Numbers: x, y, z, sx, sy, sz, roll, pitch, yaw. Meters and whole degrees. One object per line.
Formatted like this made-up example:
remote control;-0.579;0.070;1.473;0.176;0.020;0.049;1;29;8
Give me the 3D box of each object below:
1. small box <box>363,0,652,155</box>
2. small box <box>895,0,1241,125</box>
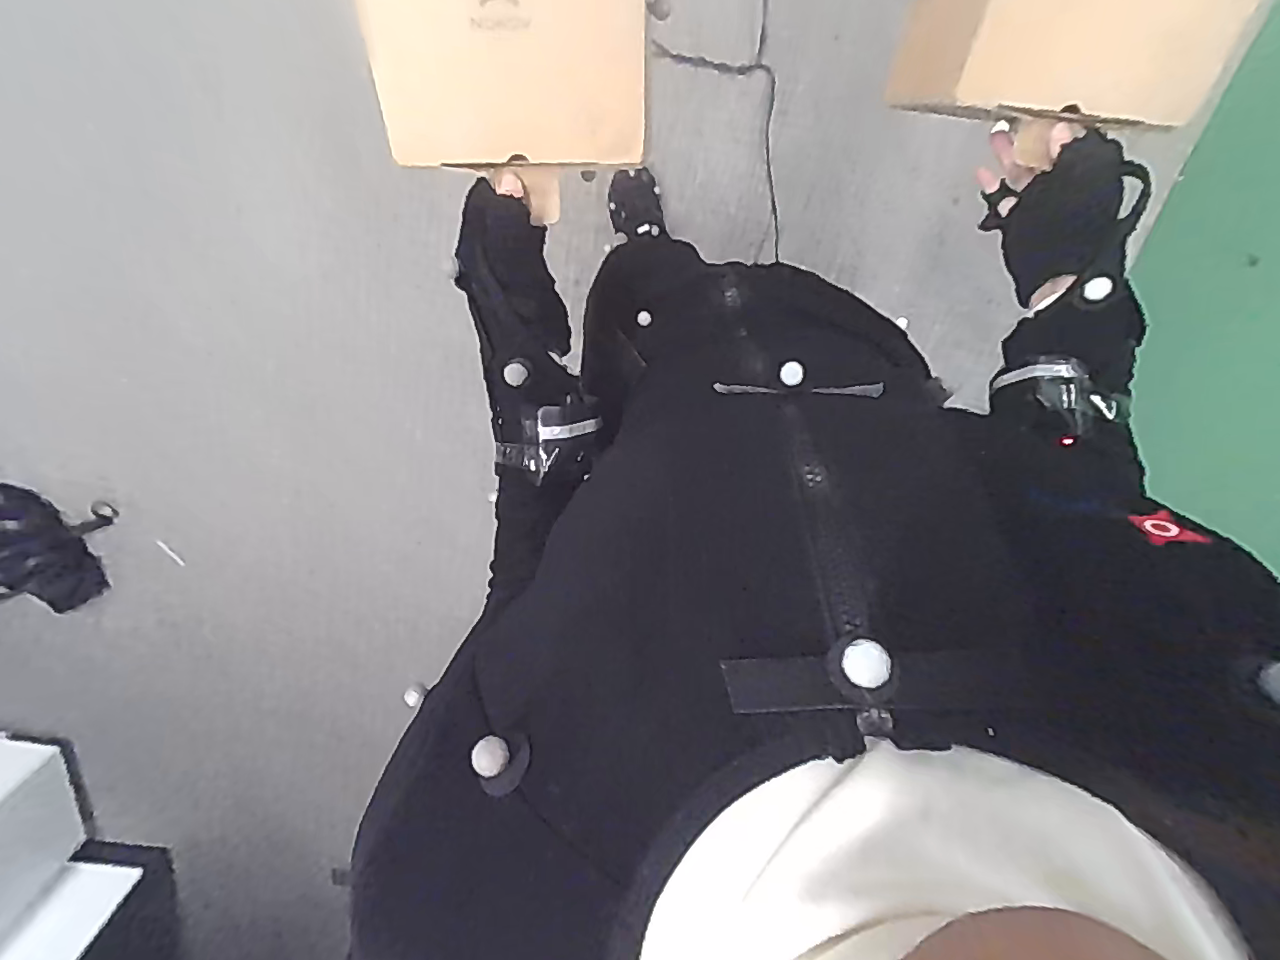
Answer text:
small box;-0.076;-0.329;0.367;0.168;0.176;0.179;0;124;1
small box;0.316;-0.381;0.405;0.168;0.176;0.179;7;124;0
